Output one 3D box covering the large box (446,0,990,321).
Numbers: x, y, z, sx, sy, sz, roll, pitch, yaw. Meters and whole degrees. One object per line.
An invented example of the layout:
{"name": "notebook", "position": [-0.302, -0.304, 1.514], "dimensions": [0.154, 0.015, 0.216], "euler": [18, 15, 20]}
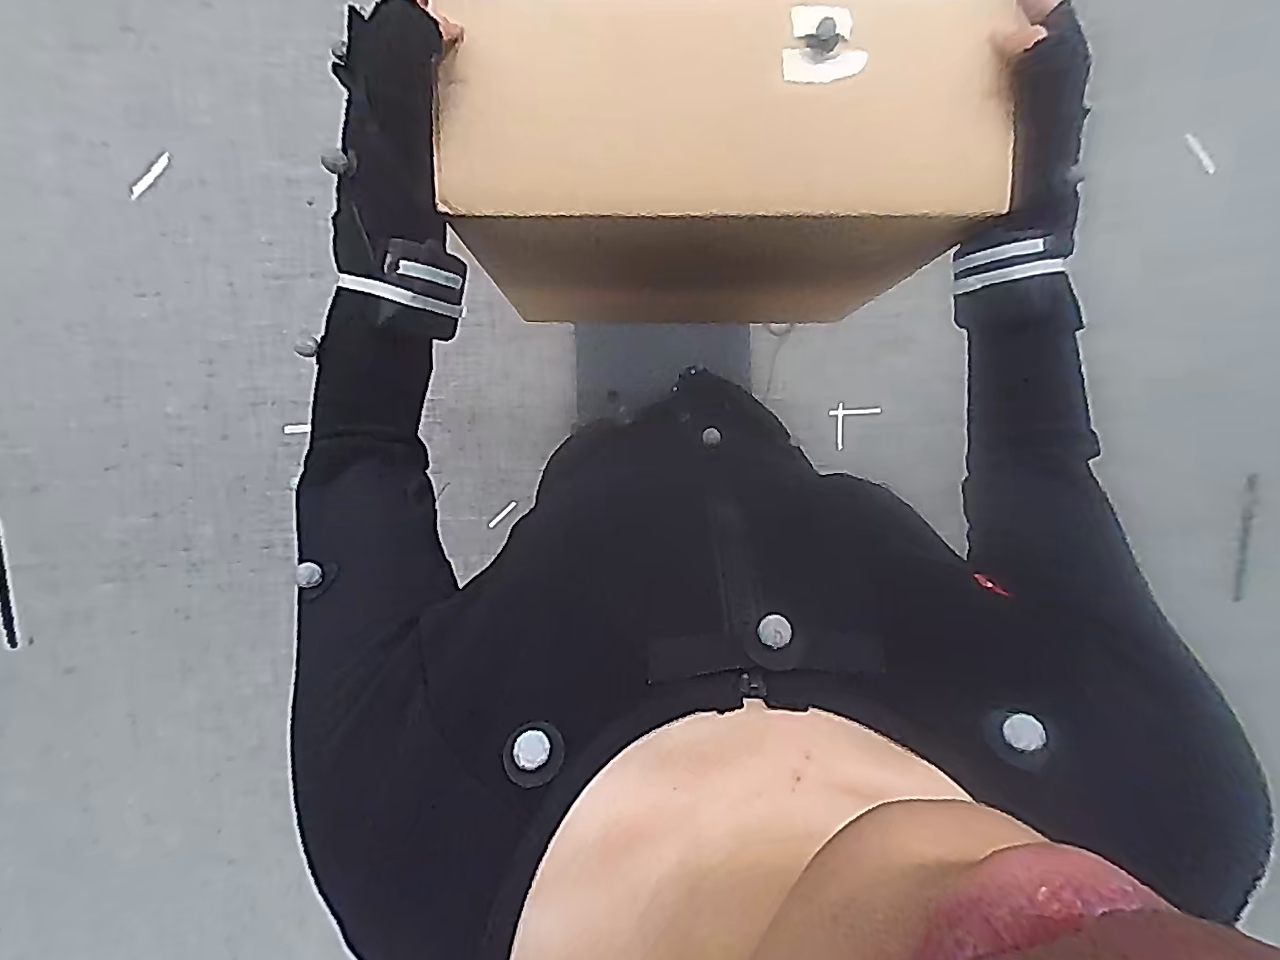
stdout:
{"name": "large box", "position": [0.053, -0.356, 0.541], "dimensions": [0.408, 0.320, 0.320], "euler": [-1, 93, -2]}
